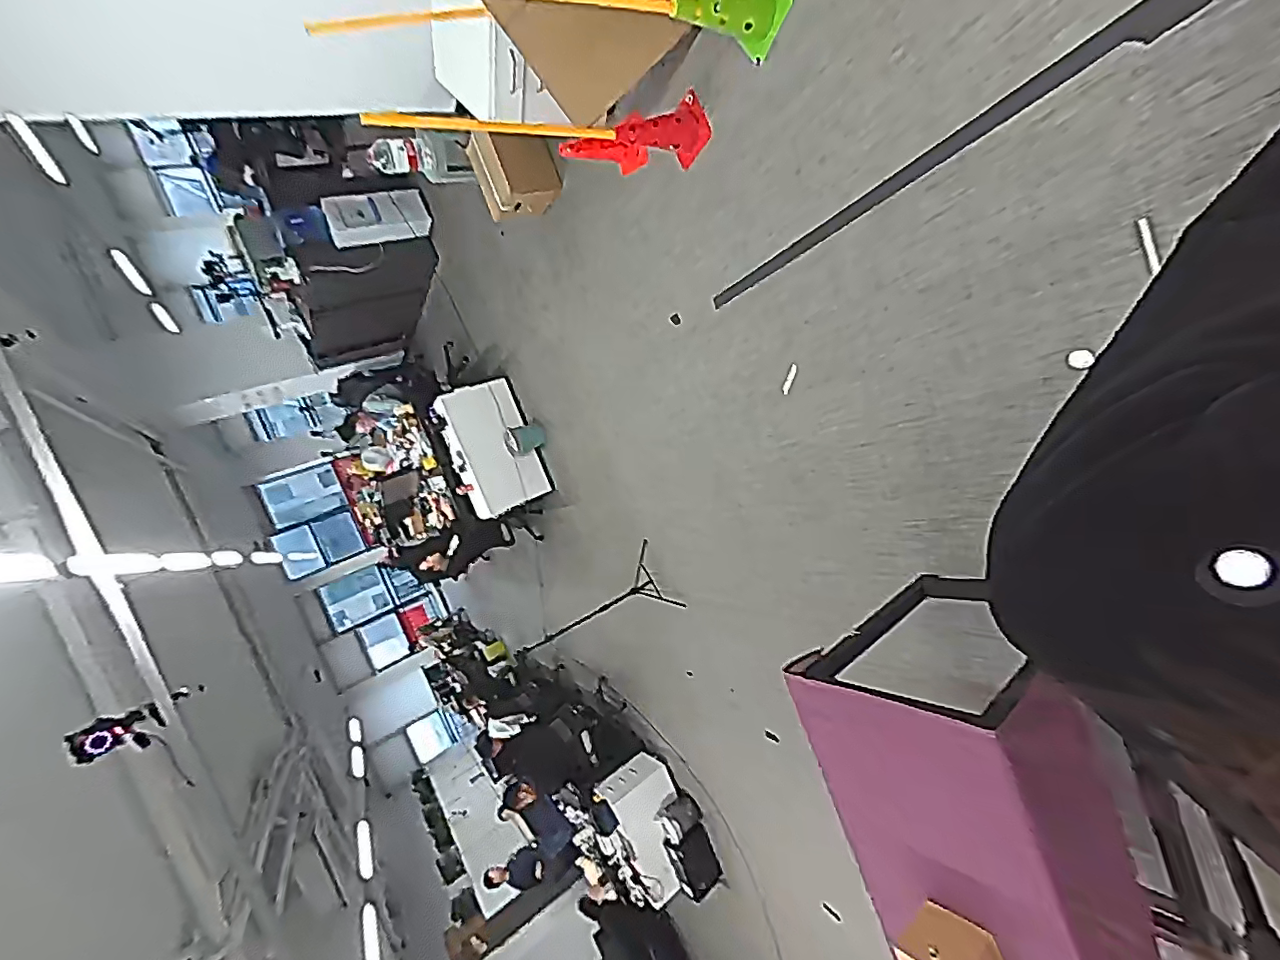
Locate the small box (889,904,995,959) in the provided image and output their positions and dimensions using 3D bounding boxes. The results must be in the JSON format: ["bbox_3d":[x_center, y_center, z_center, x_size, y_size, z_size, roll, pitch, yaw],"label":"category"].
[{"bbox_3d":[0.762,1.209,1.335,0.179,0.176,0.168,-18,94,61],"label":"small box"}]
